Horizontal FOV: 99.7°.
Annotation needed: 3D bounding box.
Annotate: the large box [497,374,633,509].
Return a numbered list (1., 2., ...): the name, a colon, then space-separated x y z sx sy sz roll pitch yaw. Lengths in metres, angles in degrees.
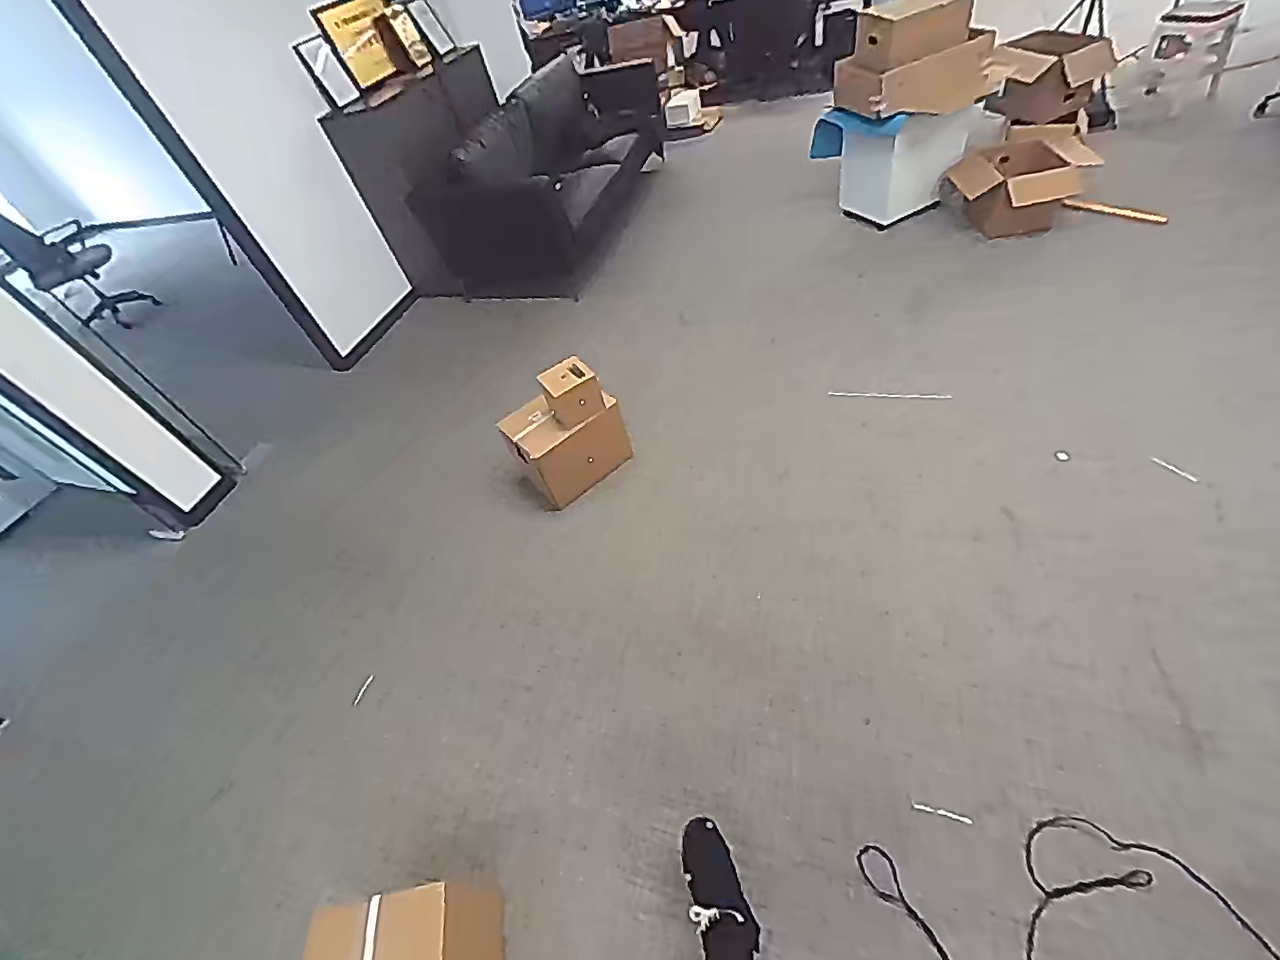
1. large box: -0.298 -0.163 2.235 0.408 0.320 0.320 -39 50 -18
